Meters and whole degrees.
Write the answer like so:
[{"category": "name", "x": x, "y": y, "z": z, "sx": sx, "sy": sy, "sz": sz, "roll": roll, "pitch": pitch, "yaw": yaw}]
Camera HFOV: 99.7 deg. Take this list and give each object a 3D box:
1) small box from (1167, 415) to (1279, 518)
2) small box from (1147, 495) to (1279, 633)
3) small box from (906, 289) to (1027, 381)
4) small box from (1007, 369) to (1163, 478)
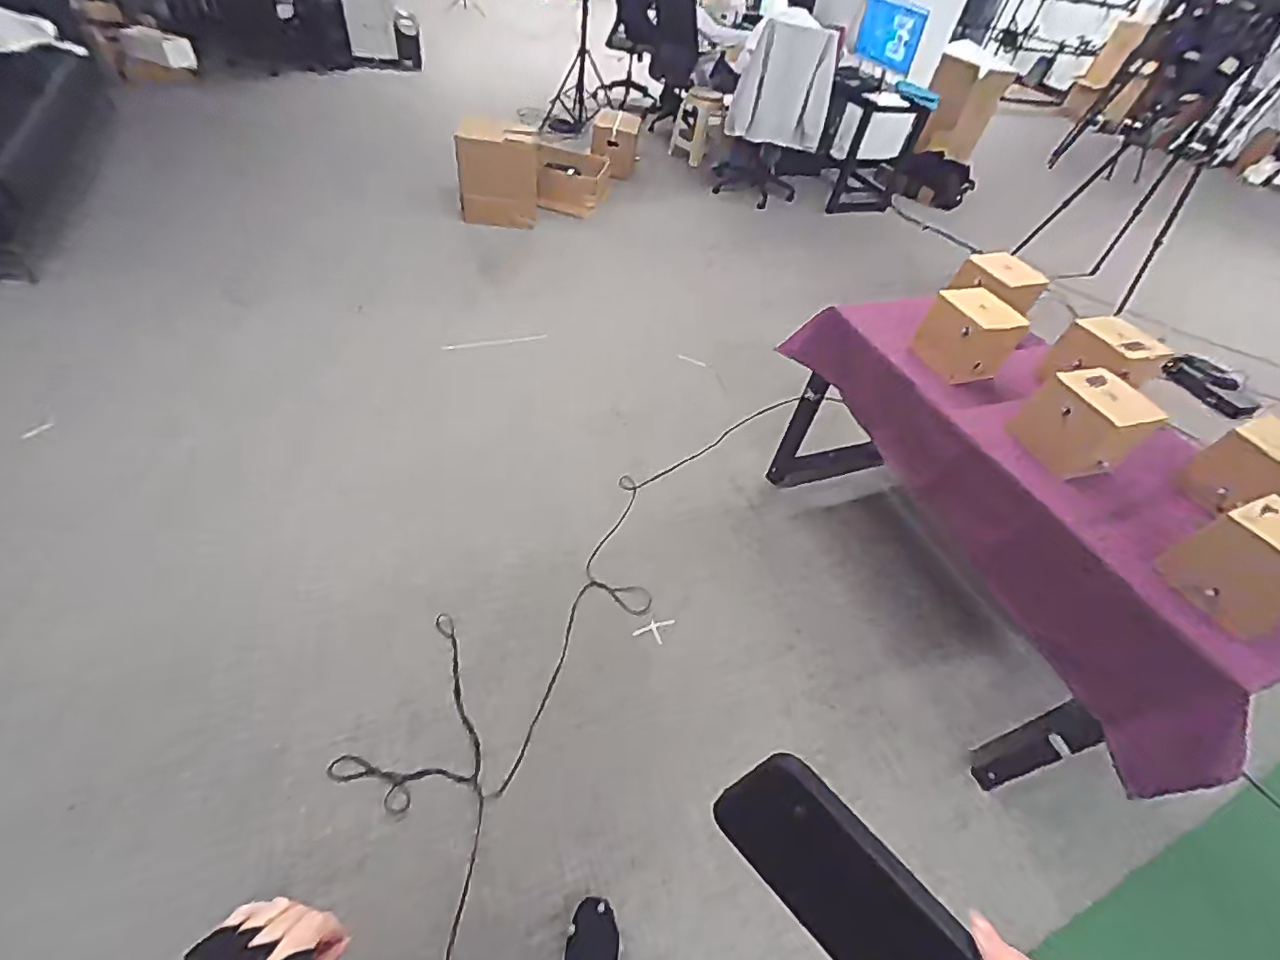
[{"category": "small box", "x": 1.333, "y": -0.015, "z": 1.184, "sx": 0.179, "sy": 0.176, "sz": 0.168, "roll": -14, "pitch": 52, "yaw": -21}, {"category": "small box", "x": 1.110, "y": 0.158, "z": 0.985, "sx": 0.168, "sy": 0.176, "sz": 0.179, "roll": -12, "pitch": 52, "yaw": -21}, {"category": "small box", "x": 0.846, "y": -0.381, "z": 1.422, "sx": 0.168, "sy": 0.176, "sz": 0.179, "roll": -10, "pitch": 52, "yaw": -20}, {"category": "small box", "x": 0.988, "y": -0.128, "z": 1.221, "sx": 0.168, "sy": 0.176, "sz": 0.179, "roll": -9, "pitch": 52, "yaw": -18}]
